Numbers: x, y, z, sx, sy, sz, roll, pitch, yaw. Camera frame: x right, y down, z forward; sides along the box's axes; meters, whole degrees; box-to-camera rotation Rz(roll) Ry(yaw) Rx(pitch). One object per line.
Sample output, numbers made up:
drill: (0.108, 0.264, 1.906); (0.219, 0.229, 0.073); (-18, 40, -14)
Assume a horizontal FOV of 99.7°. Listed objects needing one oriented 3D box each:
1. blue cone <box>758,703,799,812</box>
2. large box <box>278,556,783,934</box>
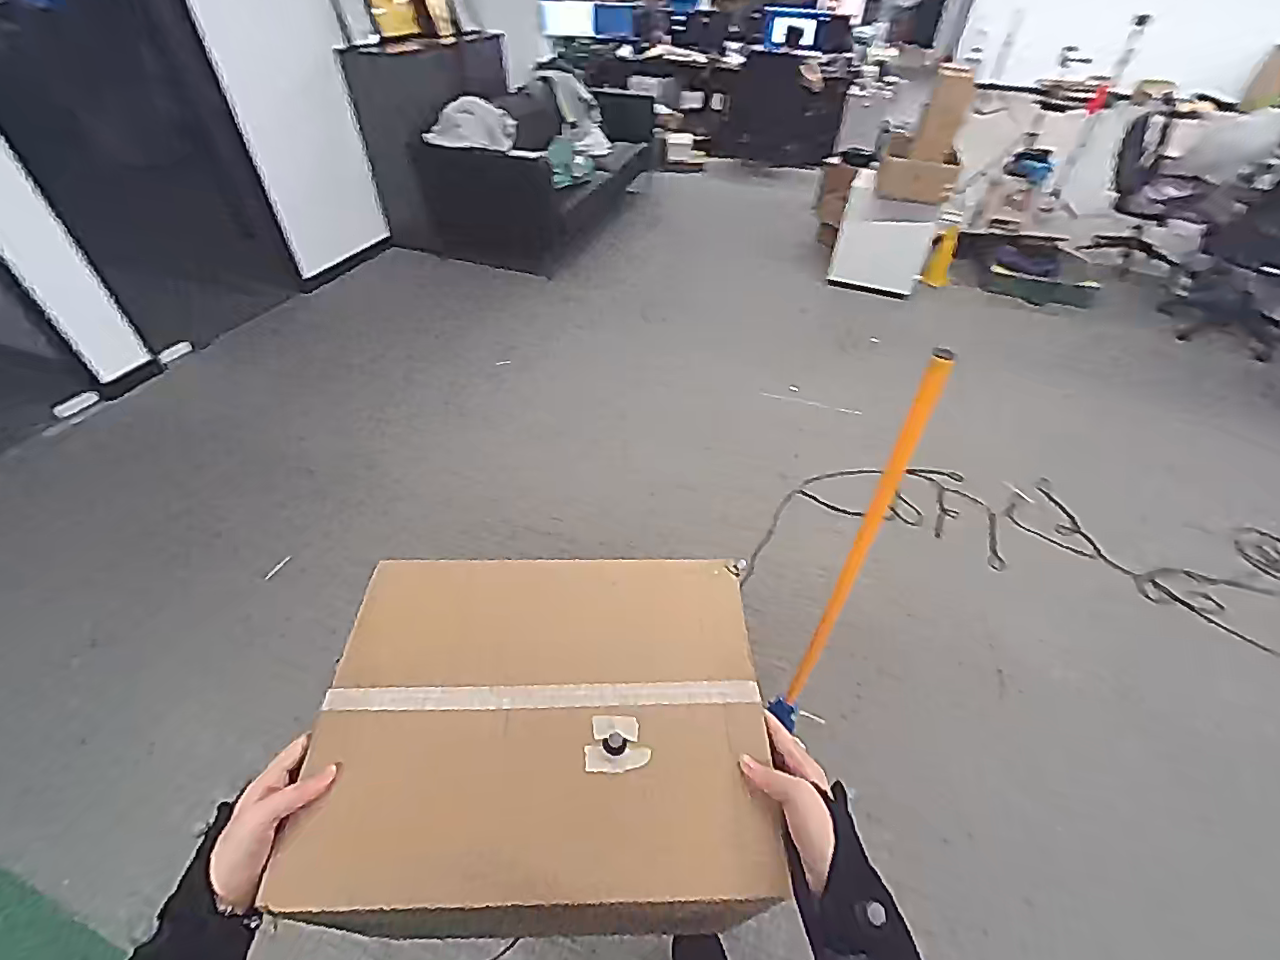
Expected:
blue cone: (0.315, 0.626, 1.306); (0.193, 0.380, 0.192); (21, 48, 19)
large box: (-0.097, 0.305, 0.632); (0.408, 0.320, 0.320); (0, 47, -4)
